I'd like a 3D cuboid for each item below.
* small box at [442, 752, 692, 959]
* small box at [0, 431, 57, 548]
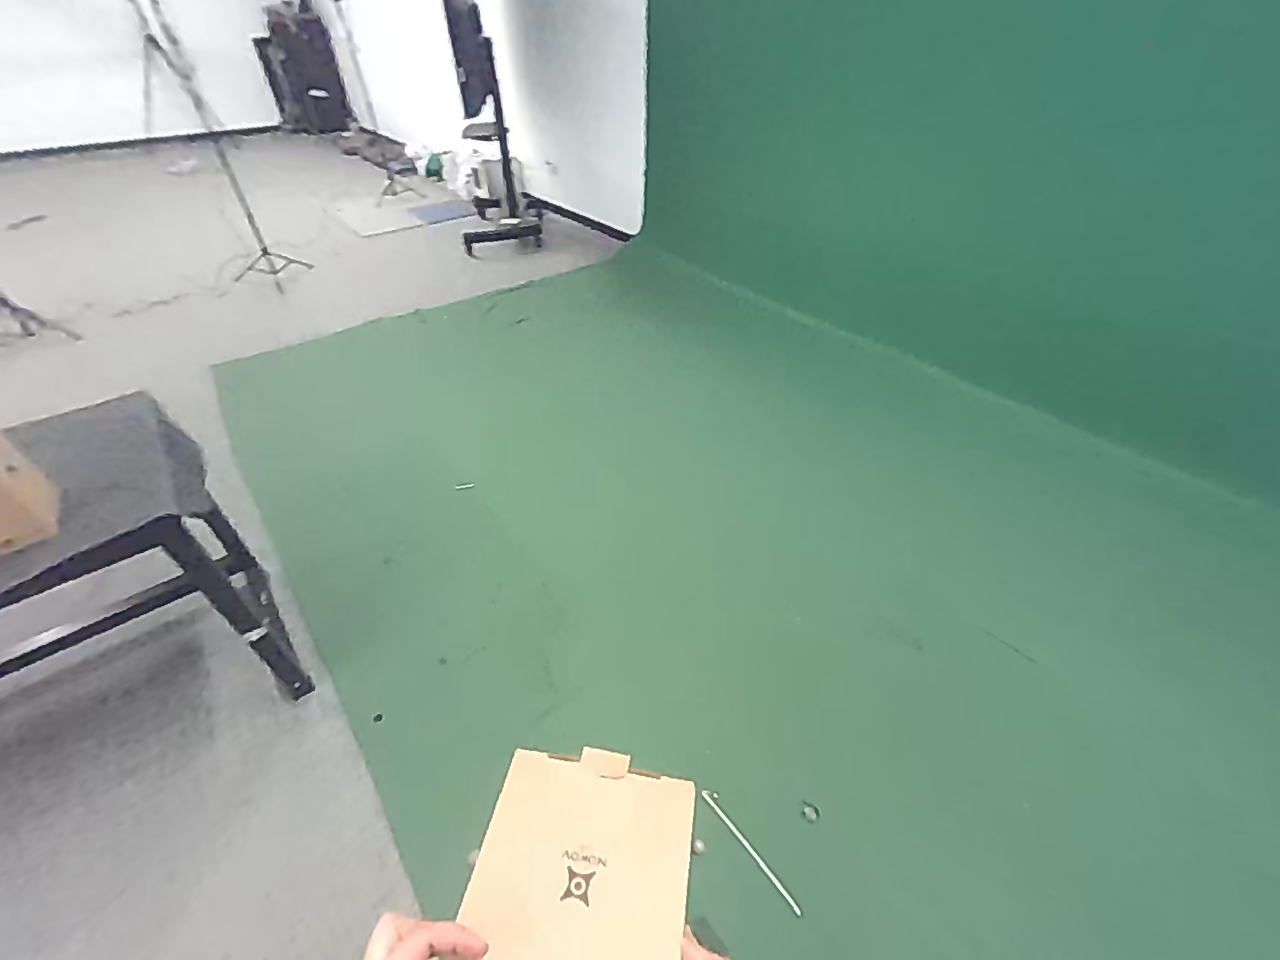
[{"bbox_3d":[-0.050,0.368,0.457,0.168,0.176,0.179,7,37,5],"label":"small box"},{"bbox_3d":[-1.231,0.028,0.990,0.168,0.176,0.179,-29,47,-28],"label":"small box"}]
